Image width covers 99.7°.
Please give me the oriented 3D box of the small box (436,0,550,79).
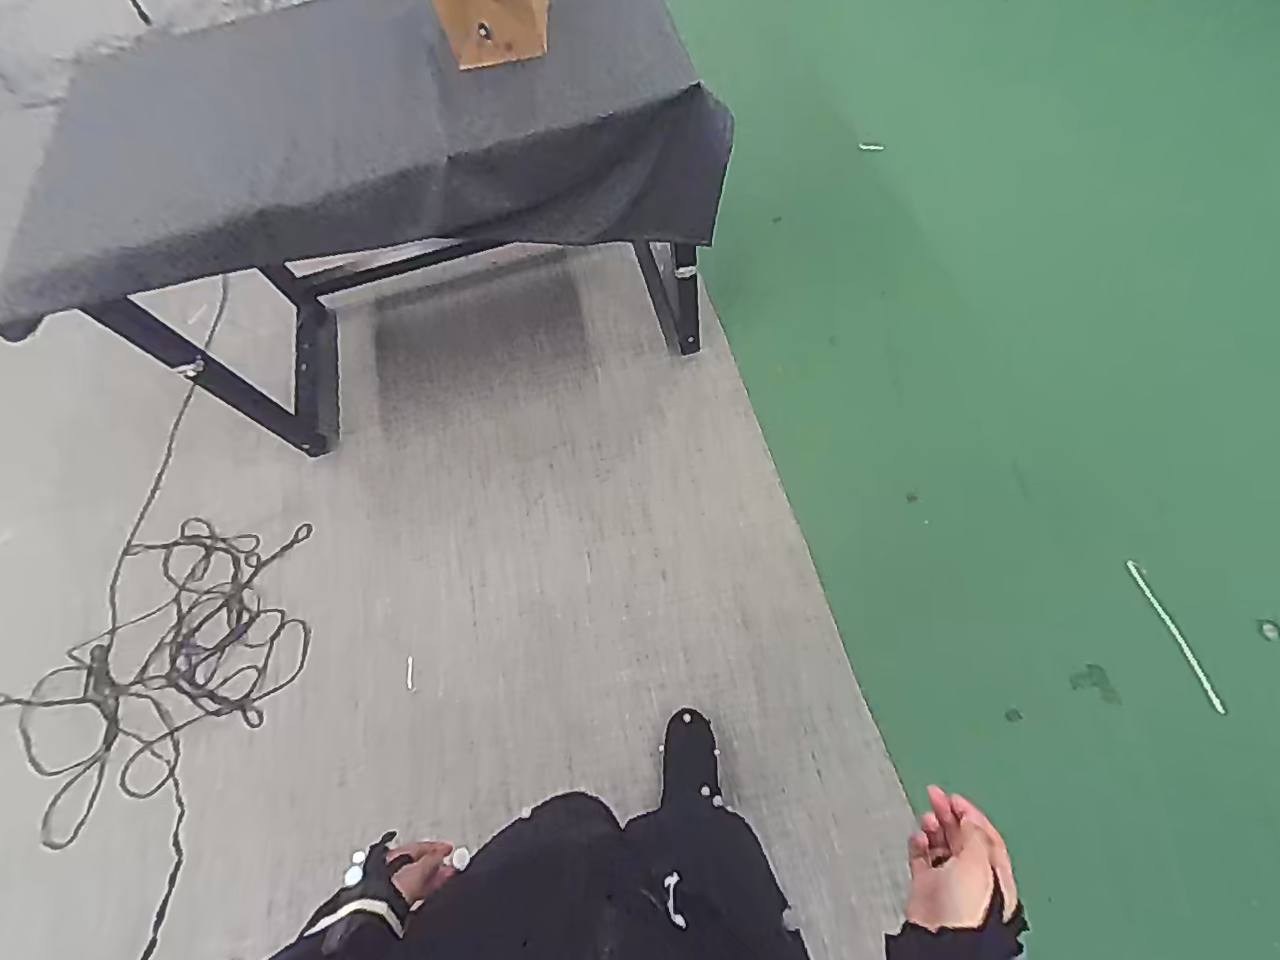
[{"bbox_3d":[-0.261,-0.857,0.958,0.168,0.176,0.179,-6,66,5],"label":"small box"}]
